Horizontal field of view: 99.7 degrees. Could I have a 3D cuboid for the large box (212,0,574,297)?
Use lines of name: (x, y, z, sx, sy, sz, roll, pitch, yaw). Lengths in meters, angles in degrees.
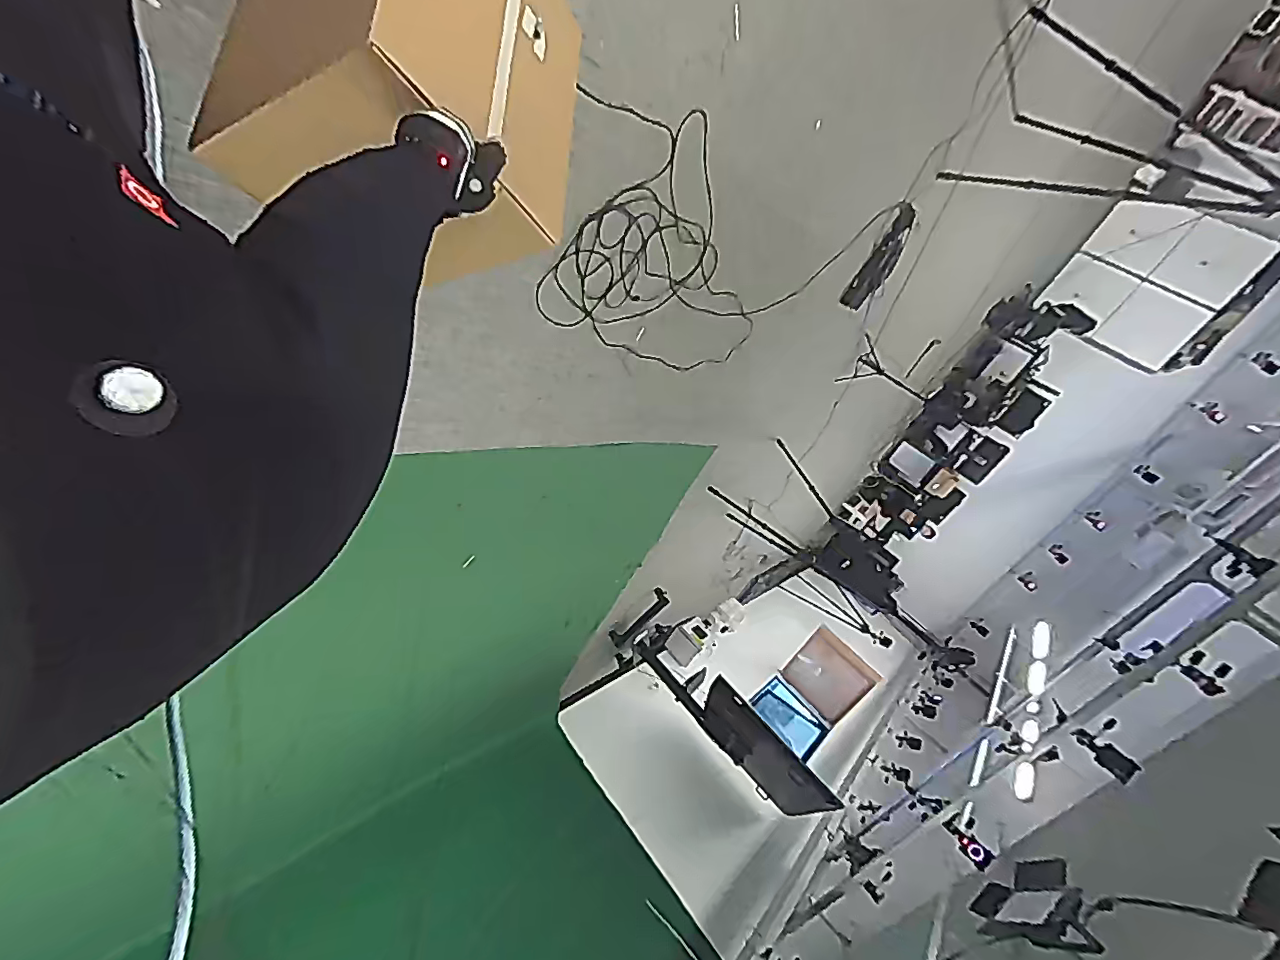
large box: (-0.312, -0.538, 0.756, 0.320, 0.320, 0.408, 30, 59, -60)
